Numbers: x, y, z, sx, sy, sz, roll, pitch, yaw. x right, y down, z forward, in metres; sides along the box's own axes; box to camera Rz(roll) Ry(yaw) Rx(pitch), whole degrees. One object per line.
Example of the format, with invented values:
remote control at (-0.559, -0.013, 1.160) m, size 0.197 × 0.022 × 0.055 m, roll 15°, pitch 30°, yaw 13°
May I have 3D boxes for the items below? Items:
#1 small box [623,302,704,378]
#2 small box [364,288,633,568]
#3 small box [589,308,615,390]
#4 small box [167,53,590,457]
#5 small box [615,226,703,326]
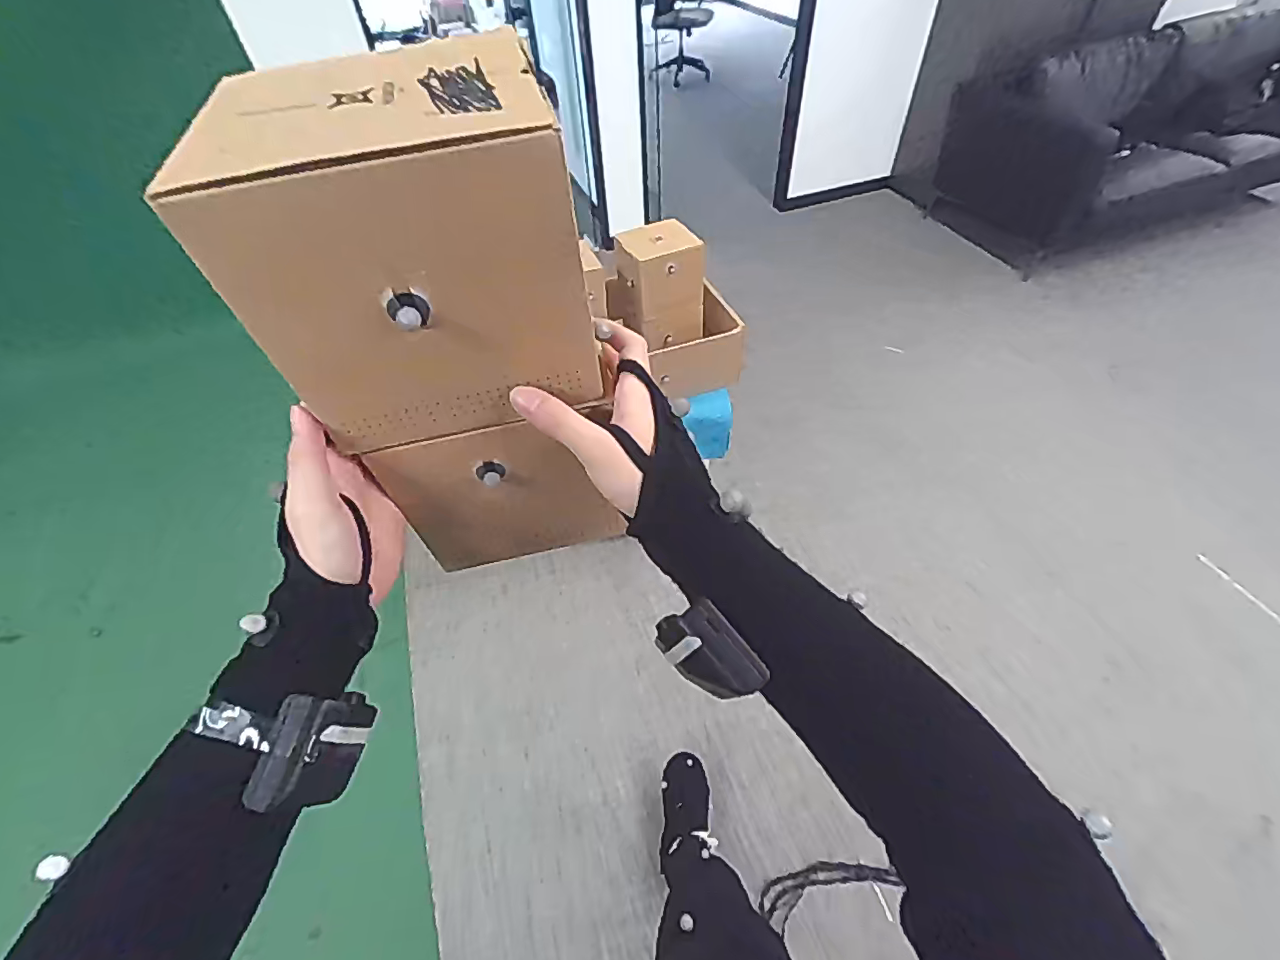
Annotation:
small box at (0.069, -0.411, 1.512) m, size 0.179 × 0.176 × 0.168 m, roll -21°, pitch 49°, yaw -10°
small box at (-0.111, -0.041, 0.482) m, size 0.179 × 0.176 × 0.168 m, roll -12°, pitch 52°, yaw -4°
small box at (-0.176, -0.340, 1.475) m, size 0.179 × 0.176 × 0.168 m, roll -16°, pitch 48°, yaw -11°
small box at (-0.135, -0.141, 0.353) m, size 0.179 × 0.176 × 0.168 m, roll -15°, pitch 52°, yaw -4°
small box at (0.053, -0.521, 1.391) m, size 0.179 × 0.176 × 0.168 m, roll -20°, pitch 50°, yaw -12°
